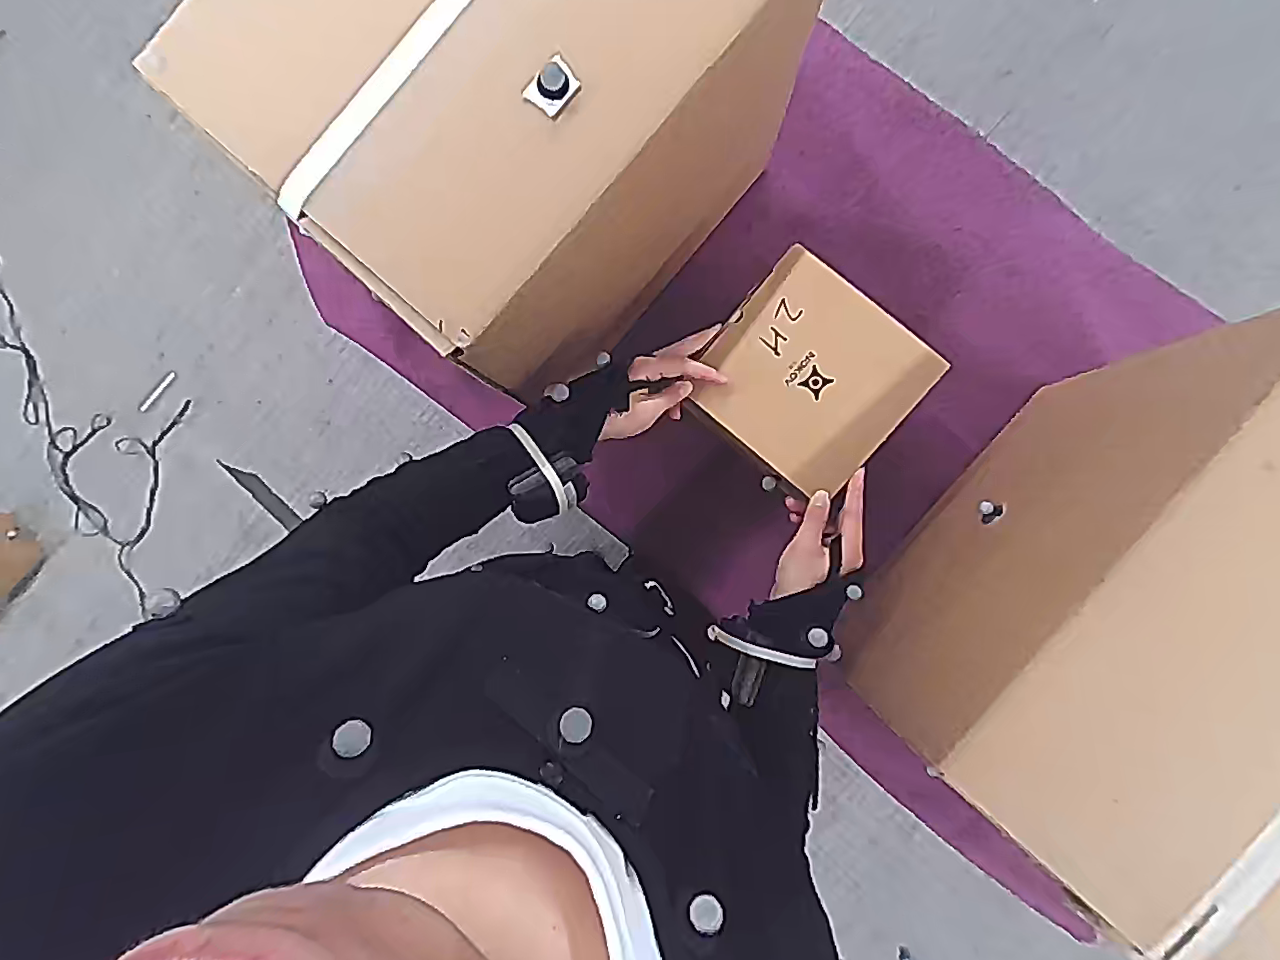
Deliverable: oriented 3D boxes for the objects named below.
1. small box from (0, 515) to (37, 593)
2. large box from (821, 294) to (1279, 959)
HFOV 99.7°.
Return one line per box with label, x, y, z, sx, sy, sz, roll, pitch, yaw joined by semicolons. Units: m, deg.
small box;-1.765;0.206;1.410;0.179;0.176;0.168;-43;86;1
large box;0.431;0.126;0.462;0.320;0.320;0.408;41;90;4
